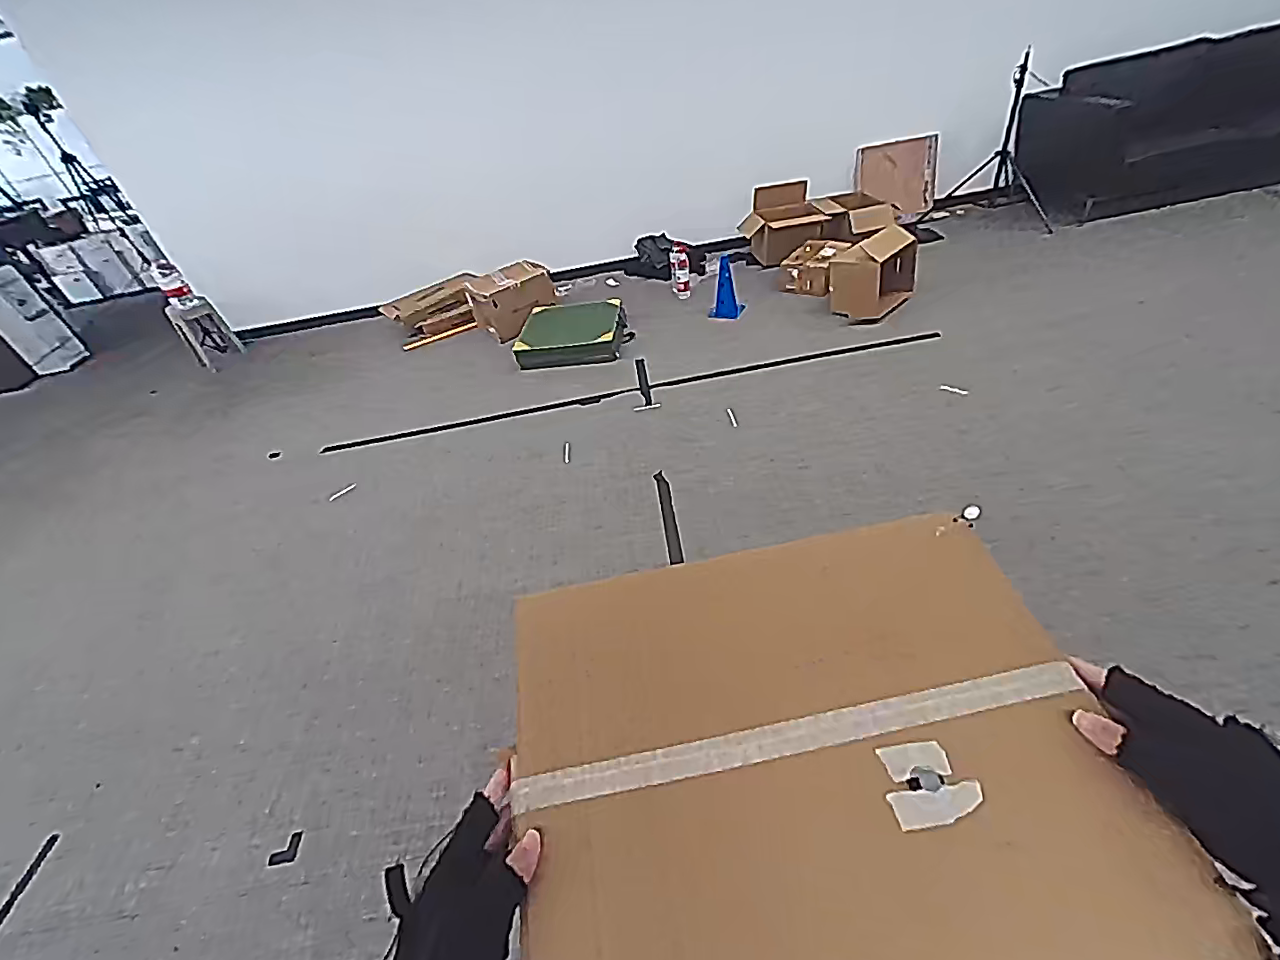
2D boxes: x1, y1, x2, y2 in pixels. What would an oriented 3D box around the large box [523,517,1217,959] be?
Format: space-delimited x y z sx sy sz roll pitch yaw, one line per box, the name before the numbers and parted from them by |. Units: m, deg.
large box | 0.128 0.282 0.510 0.408 0.320 0.320 -11 50 -3
